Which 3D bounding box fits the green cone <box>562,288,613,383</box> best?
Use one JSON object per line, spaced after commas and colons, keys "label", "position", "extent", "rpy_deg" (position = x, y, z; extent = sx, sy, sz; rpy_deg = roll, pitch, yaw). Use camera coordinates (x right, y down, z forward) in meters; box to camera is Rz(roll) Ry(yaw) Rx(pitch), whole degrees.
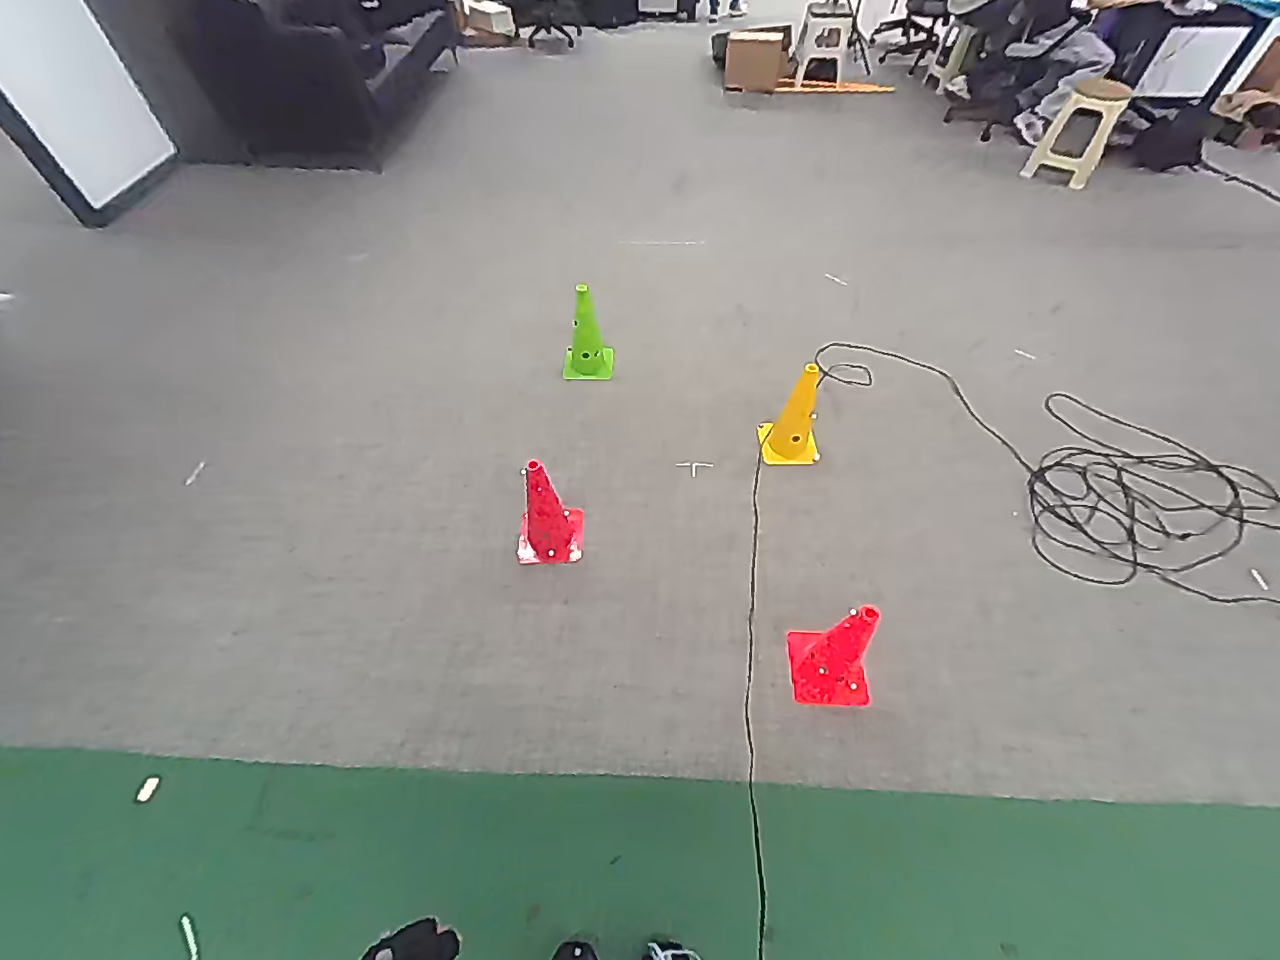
{"label": "green cone", "position": [-0.213, -0.577, 2.116], "extent": [0.202, 0.368, 0.200], "rpy_deg": [2, 52, 0]}

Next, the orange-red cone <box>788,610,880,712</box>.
{"label": "orange-red cone", "position": [0.506, 0.411, 1.328], "extent": [0.198, 0.360, 0.199], "rpy_deg": [3, 50, 1]}

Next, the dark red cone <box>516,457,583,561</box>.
{"label": "dark red cone", "position": [-0.282, 0.068, 1.571], "extent": [0.202, 0.394, 0.201], "rpy_deg": [-2, 53, -2]}
